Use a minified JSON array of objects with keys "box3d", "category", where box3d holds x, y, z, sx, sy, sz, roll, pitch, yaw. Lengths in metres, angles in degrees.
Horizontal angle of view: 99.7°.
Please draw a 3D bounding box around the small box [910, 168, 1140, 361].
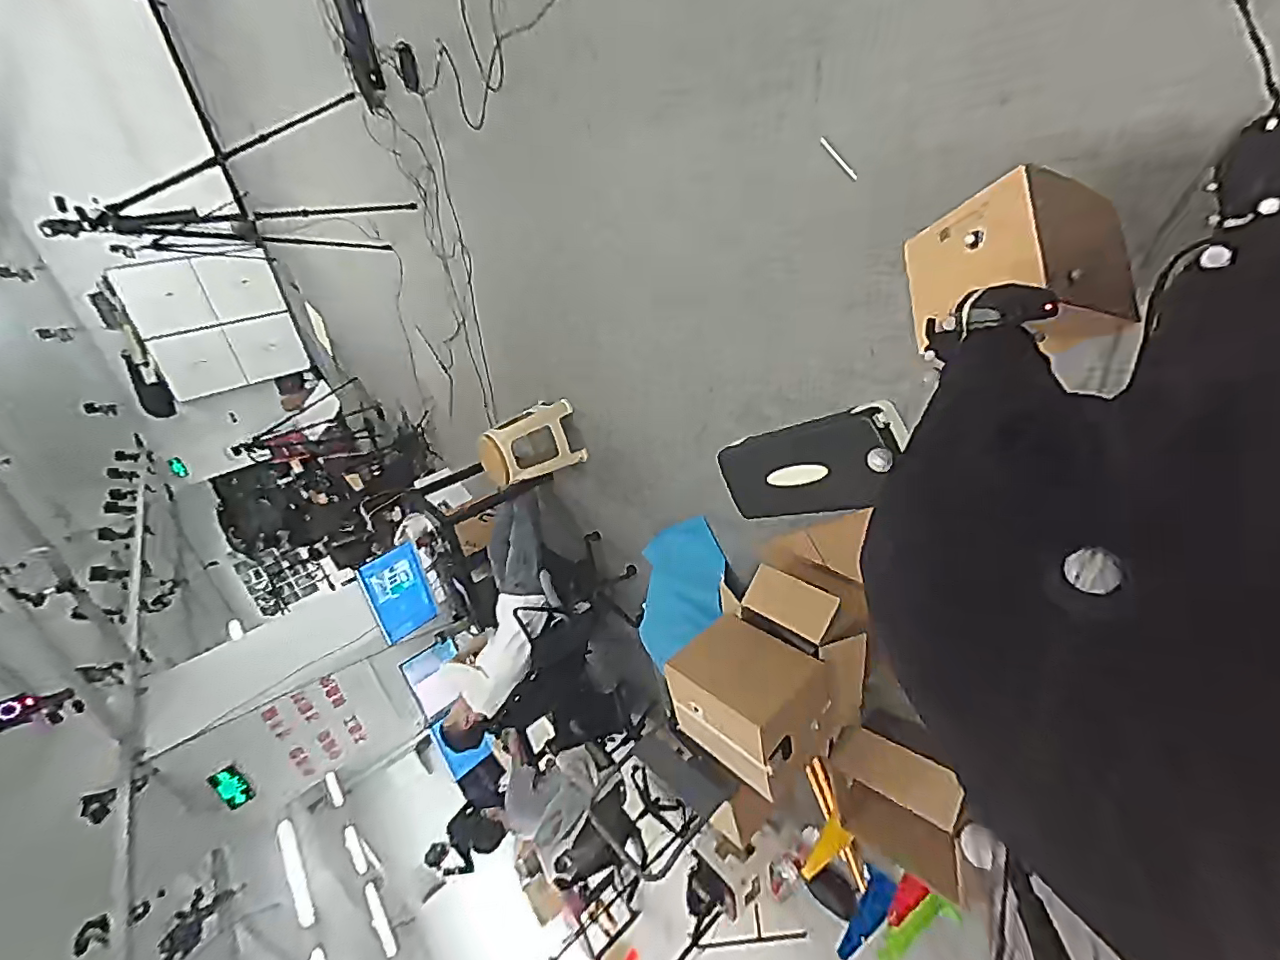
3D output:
[{"box3d":[0.483,-0.265,0.695,0.168,0.179,0.176,154,113,-67],"category":"small box"}]
